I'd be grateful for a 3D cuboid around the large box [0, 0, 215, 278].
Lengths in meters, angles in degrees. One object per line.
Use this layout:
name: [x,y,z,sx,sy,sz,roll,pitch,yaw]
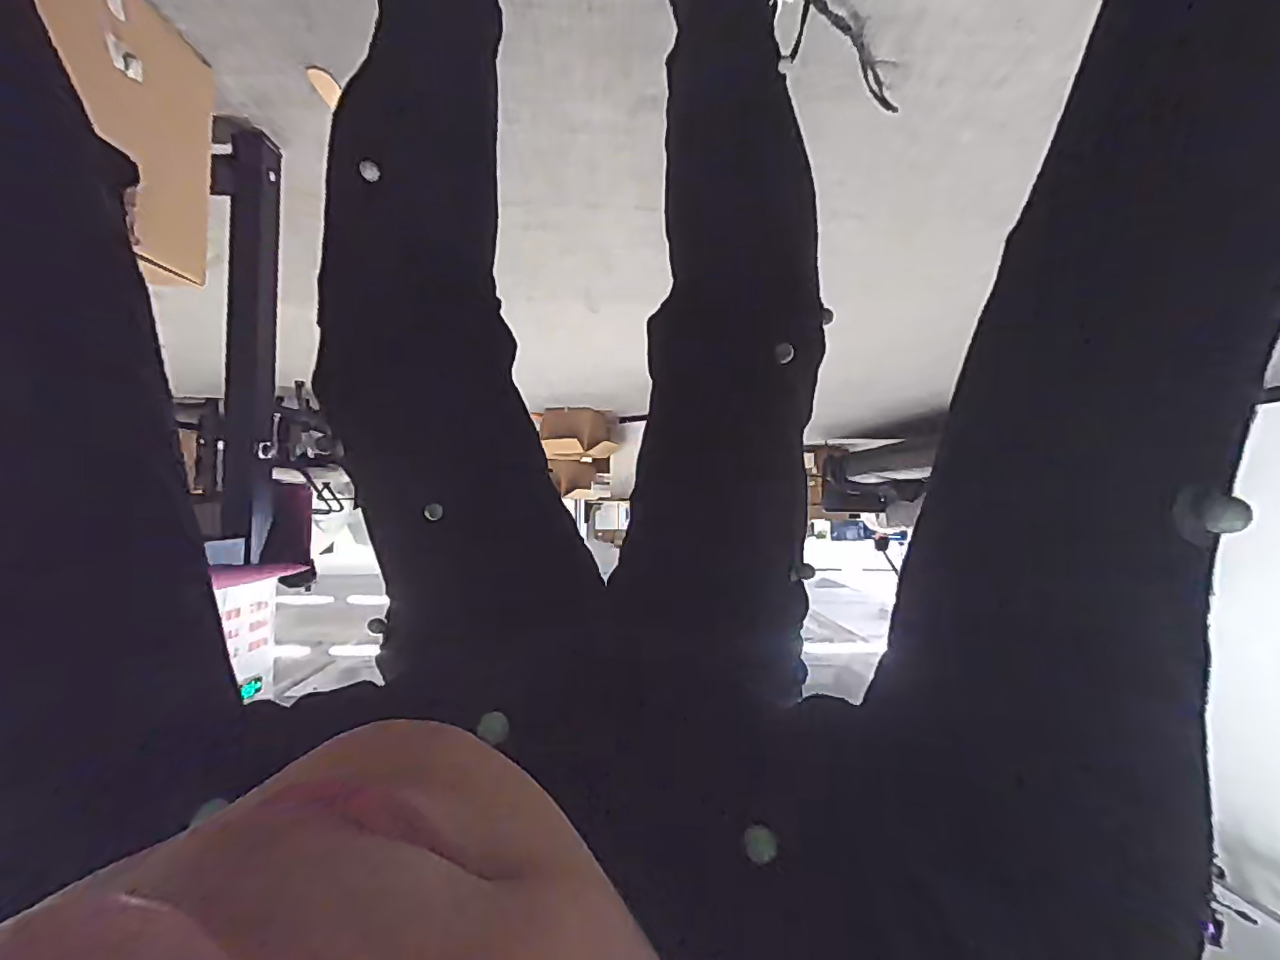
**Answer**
large box: [-0.787,-0.438,0.597,0.408,0.320,0.320,2,177,-1]
